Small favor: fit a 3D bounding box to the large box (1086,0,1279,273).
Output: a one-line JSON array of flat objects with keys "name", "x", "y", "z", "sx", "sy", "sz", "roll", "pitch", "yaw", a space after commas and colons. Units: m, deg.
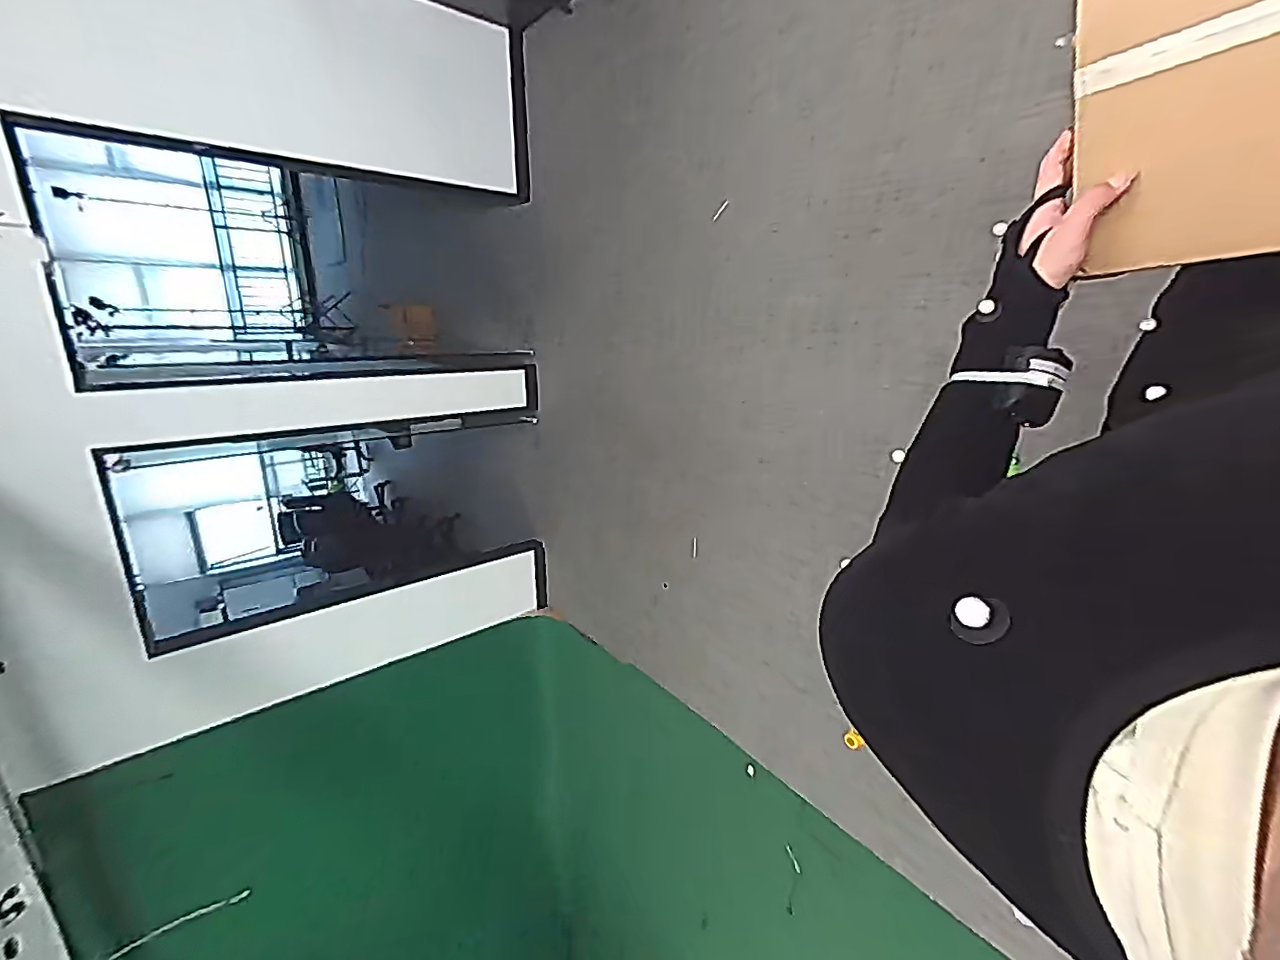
[{"name": "large box", "x": 0.610, "y": -0.369, "z": 0.389, "sx": 0.408, "sy": 0.320, "sz": 0.320, "roll": 8, "pitch": 120, "yaw": 49}]
